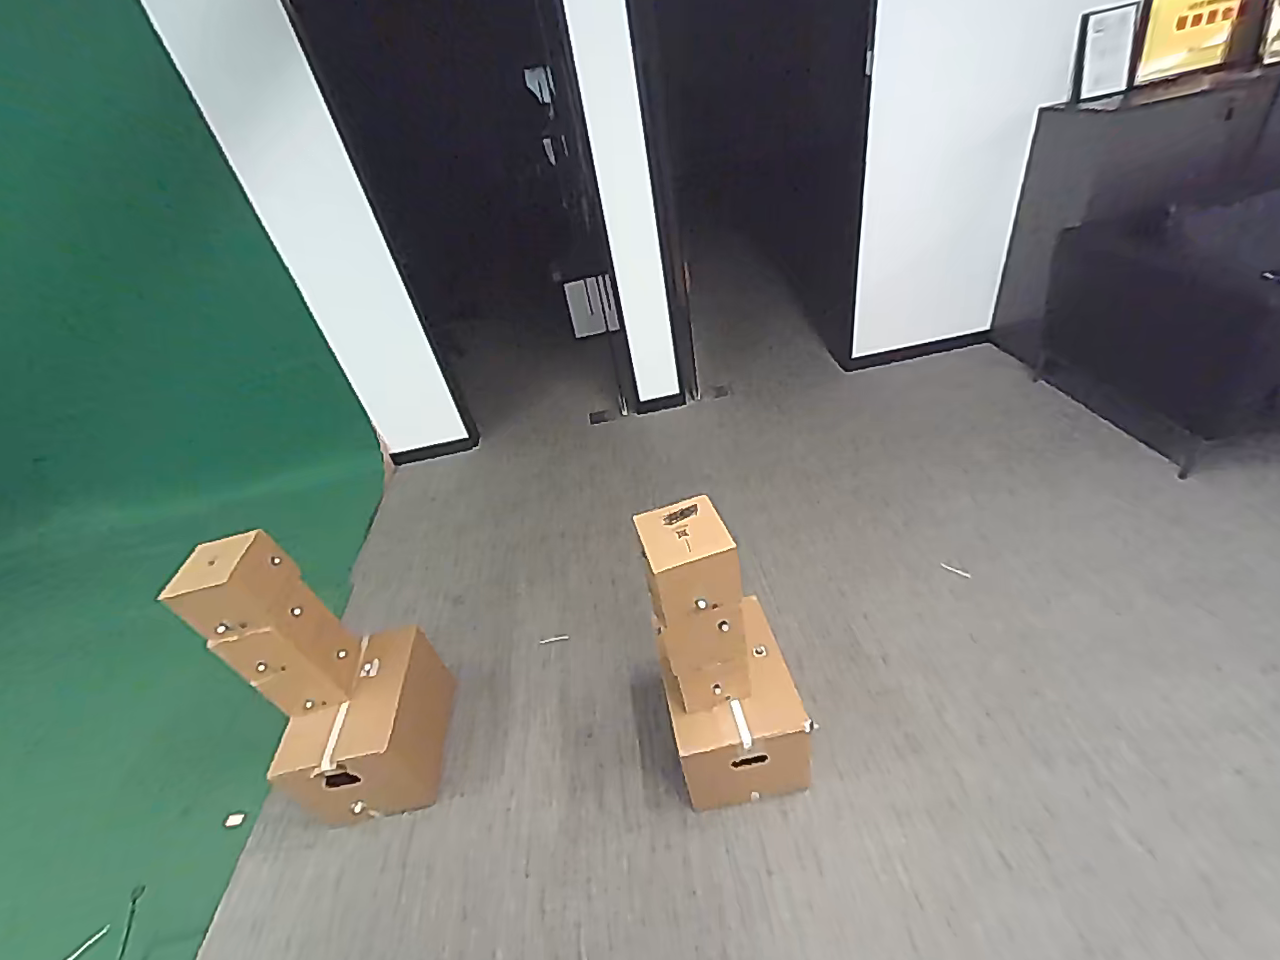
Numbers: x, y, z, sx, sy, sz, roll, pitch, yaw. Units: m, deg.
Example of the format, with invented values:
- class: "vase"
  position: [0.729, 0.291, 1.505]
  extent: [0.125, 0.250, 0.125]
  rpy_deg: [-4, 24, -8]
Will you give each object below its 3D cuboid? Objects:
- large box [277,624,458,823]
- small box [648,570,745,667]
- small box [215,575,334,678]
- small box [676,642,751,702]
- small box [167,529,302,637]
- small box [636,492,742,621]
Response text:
- class: "large box"
  position: [-0.768, 0.712, 1.604]
  extent: [0.320, 0.320, 0.408]
  rpy_deg: [-13, 36, 0]
- class: "small box"
  position: [0.131, 0.289, 1.215]
  extent: [0.179, 0.176, 0.168]
  rpy_deg: [-16, 36, -2]
- class: "small box"
  position: [-0.933, 0.380, 1.405]
  extent: [0.168, 0.176, 0.179]
  rpy_deg: [-15, 38, 2]
- class: "small box"
  position: [0.163, 0.415, 1.318]
  extent: [0.168, 0.176, 0.179]
  rpy_deg: [-16, 38, -2]
- class: "small box"
  position: [-0.966, 0.250, 1.312]
  extent: [0.168, 0.176, 0.179]
  rpy_deg: [-15, 38, 3]
- class: "small box"
  position: [0.101, 0.157, 1.121]
  extent: [0.168, 0.176, 0.179]
  rpy_deg: [-18, 38, -4]
